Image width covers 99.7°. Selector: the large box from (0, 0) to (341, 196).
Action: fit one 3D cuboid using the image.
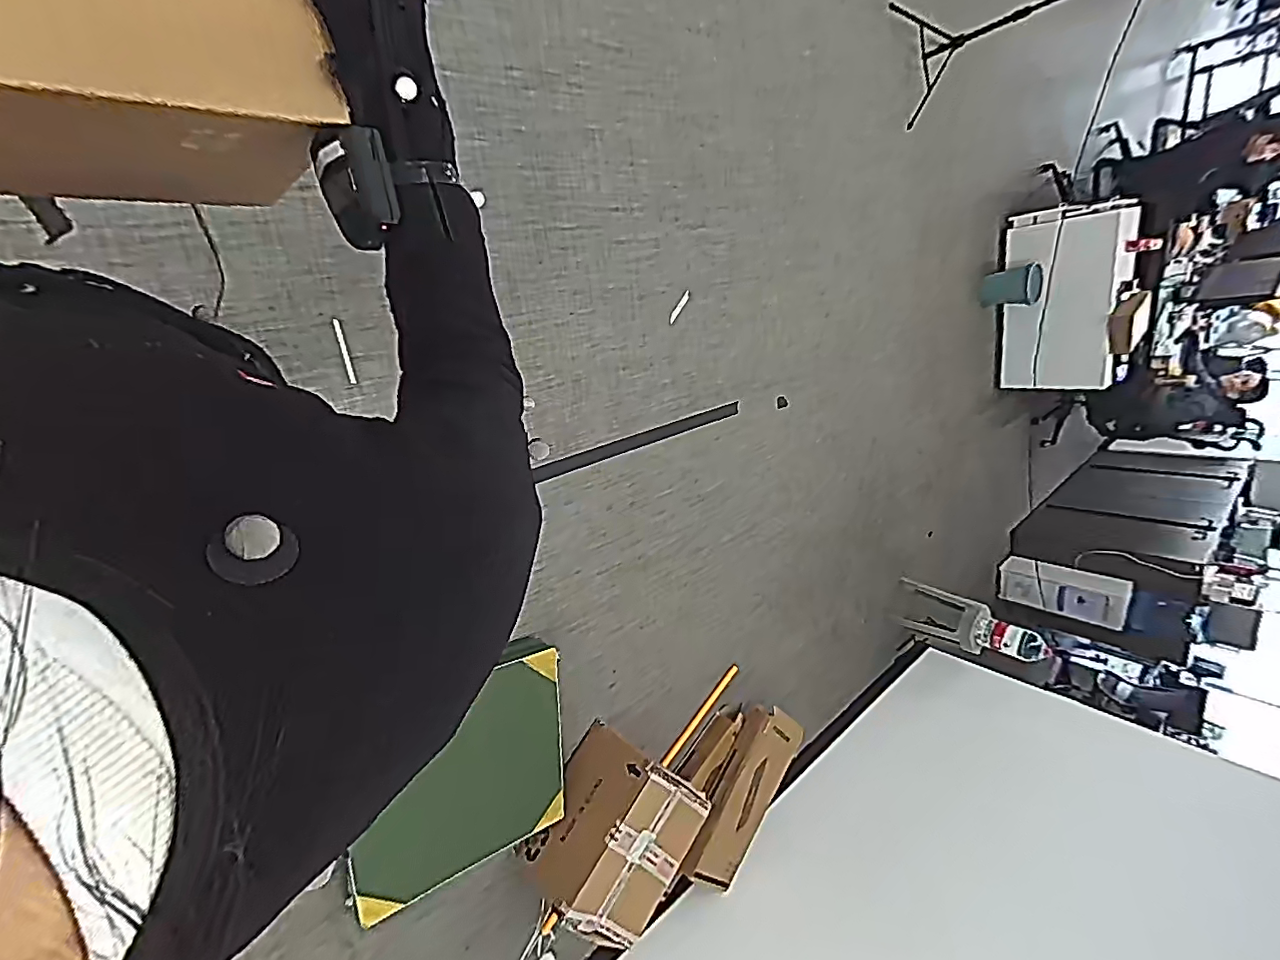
[{"bbox_3d":[-0.456,-0.358,0.296,0.408,0.320,0.320,-20,116,-38],"label":"large box"}]
